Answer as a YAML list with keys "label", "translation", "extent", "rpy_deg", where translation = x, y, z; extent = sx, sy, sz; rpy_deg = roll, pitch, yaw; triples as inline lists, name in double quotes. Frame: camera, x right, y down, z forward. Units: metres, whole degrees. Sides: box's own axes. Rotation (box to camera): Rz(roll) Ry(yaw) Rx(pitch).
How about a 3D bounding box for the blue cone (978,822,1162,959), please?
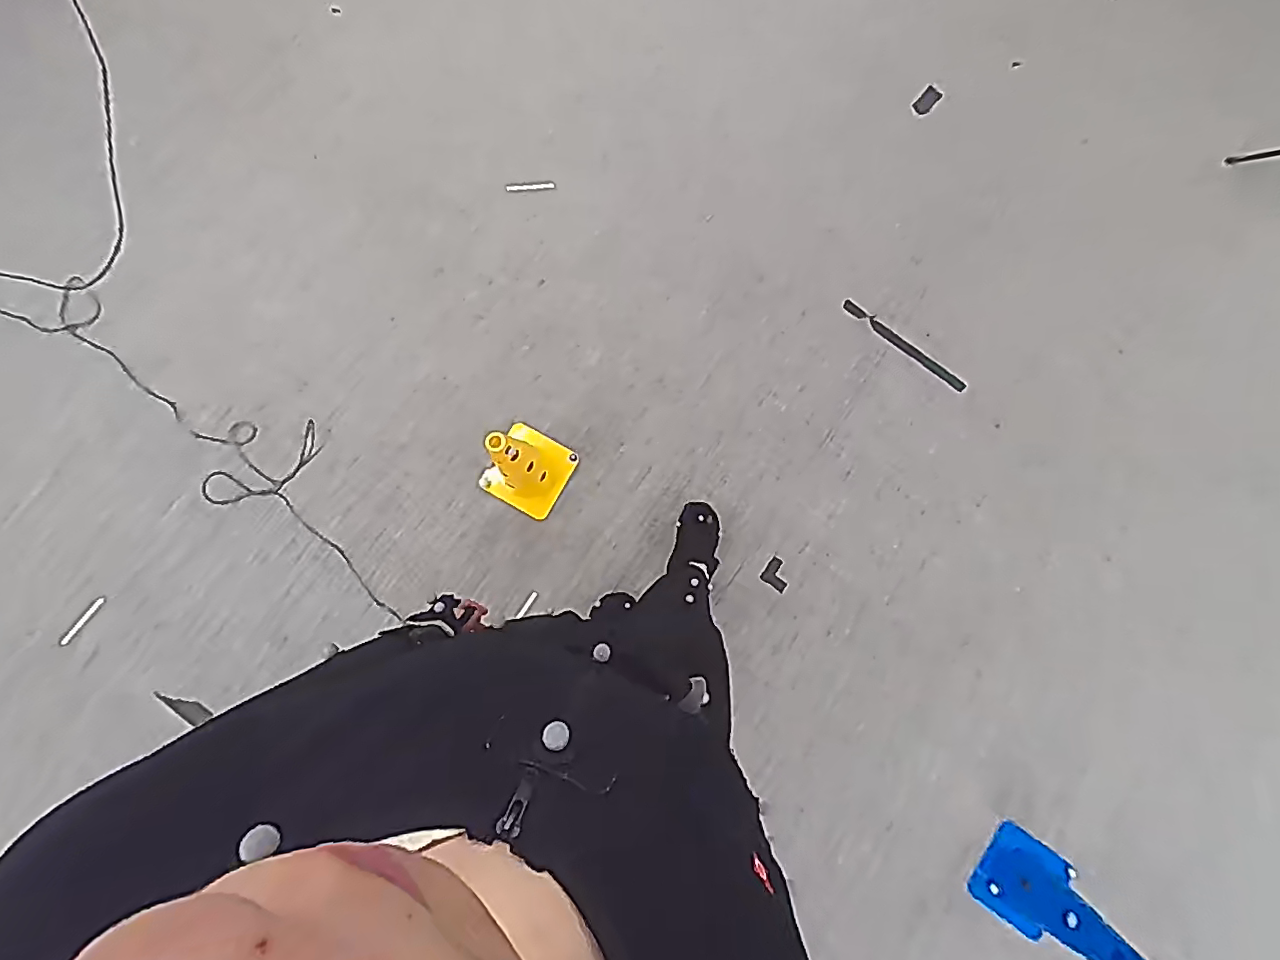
- label: "blue cone"
  translation: [0.912, 0.909, 1.112]
  extent: [0.193, 0.380, 0.192]
  rpy_deg: [37, 82, 4]
